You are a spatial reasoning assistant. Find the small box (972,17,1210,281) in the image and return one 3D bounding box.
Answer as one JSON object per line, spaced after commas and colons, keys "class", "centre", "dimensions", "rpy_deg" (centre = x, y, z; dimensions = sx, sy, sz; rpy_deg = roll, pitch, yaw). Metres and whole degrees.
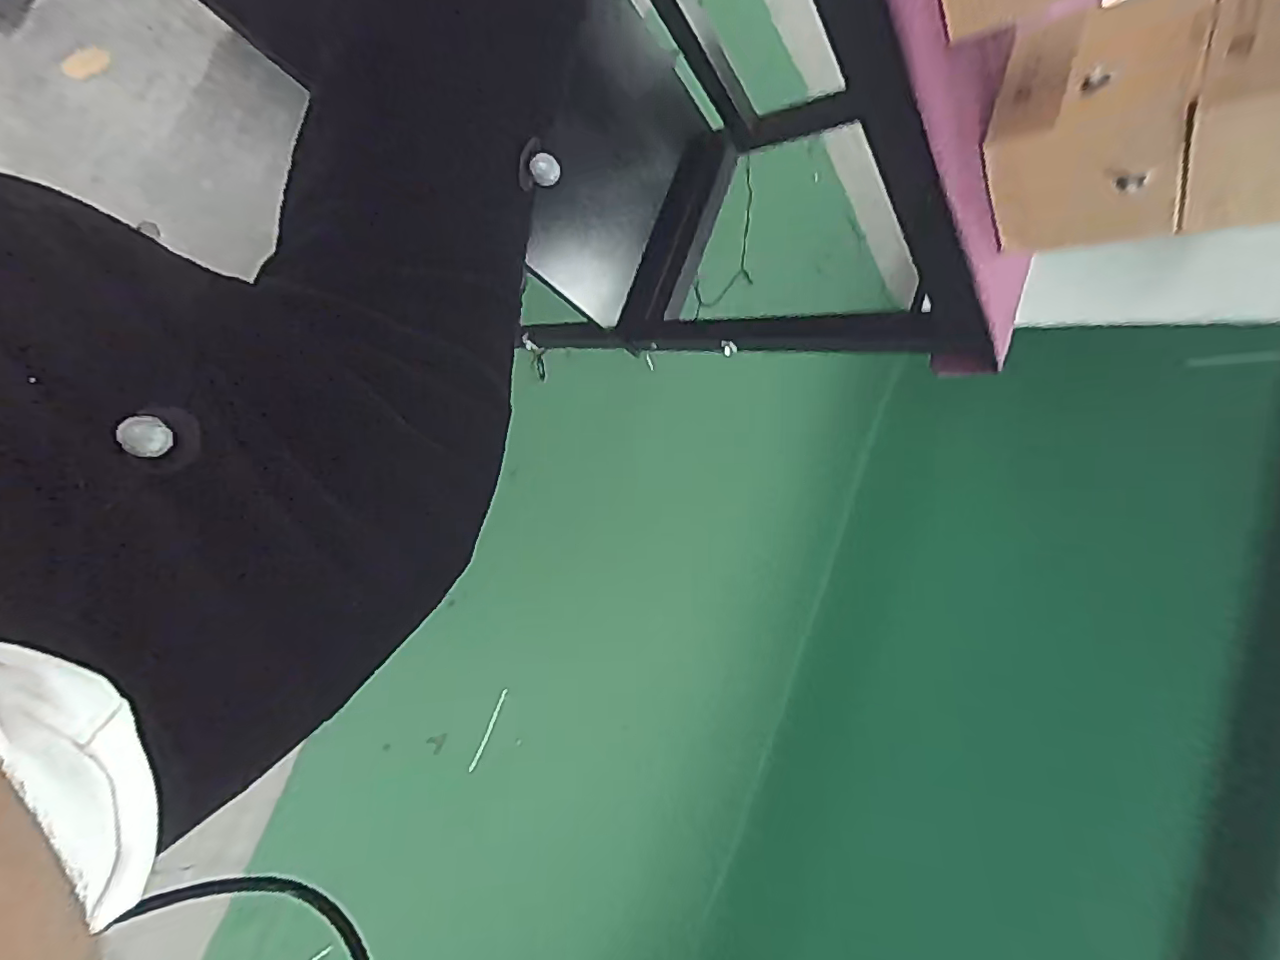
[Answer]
{"class": "small box", "centre": [0.487, -0.340, 0.601], "dimensions": [0.179, 0.176, 0.168], "rpy_deg": [37, 73, -46]}
